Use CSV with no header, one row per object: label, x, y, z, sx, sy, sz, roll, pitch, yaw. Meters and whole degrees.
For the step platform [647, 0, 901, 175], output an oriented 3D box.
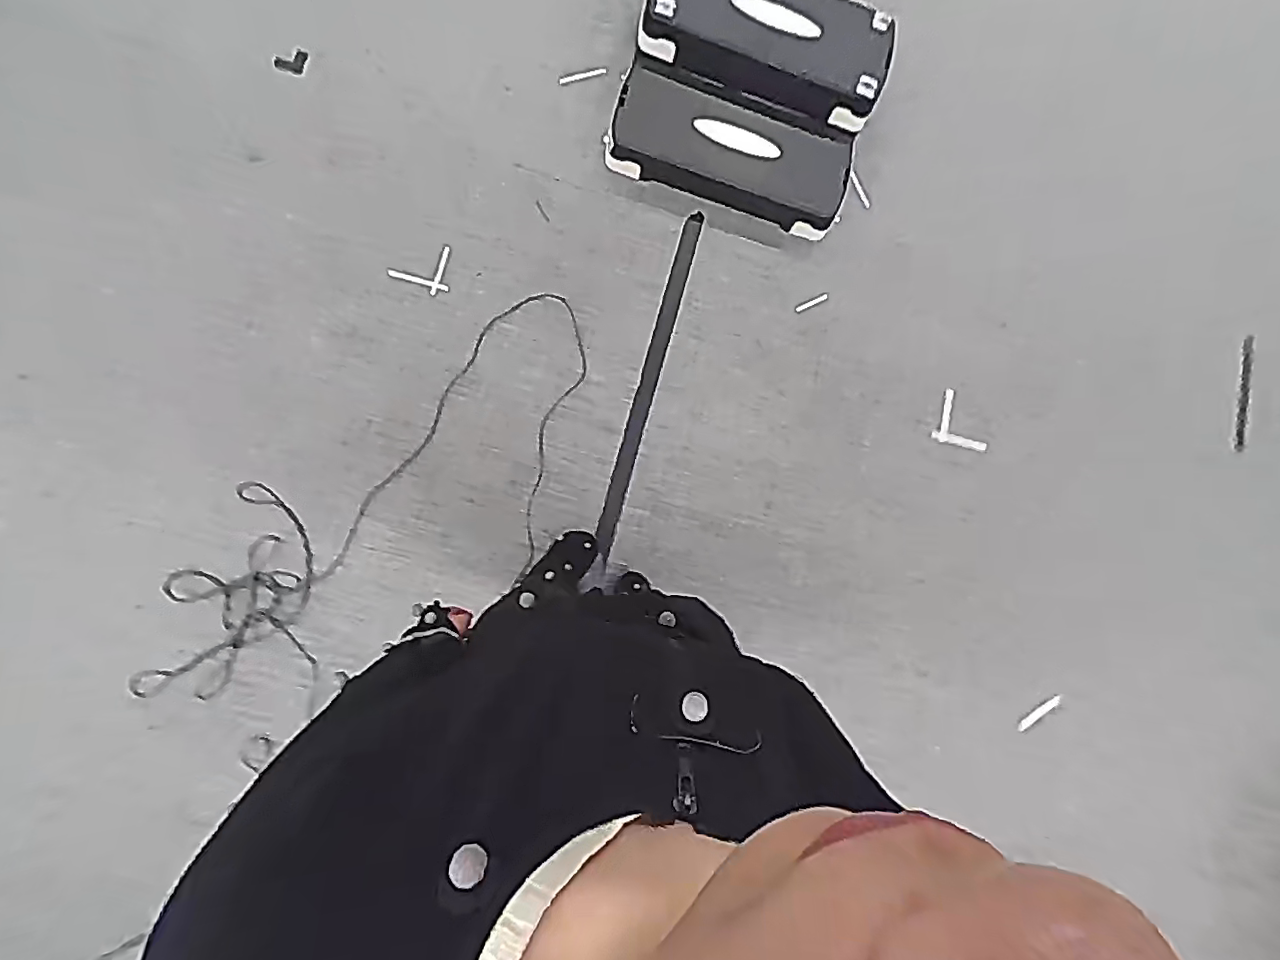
step platform,0.375,-1.157,1.528,0.684,0.204,0.286,21,81,-5
